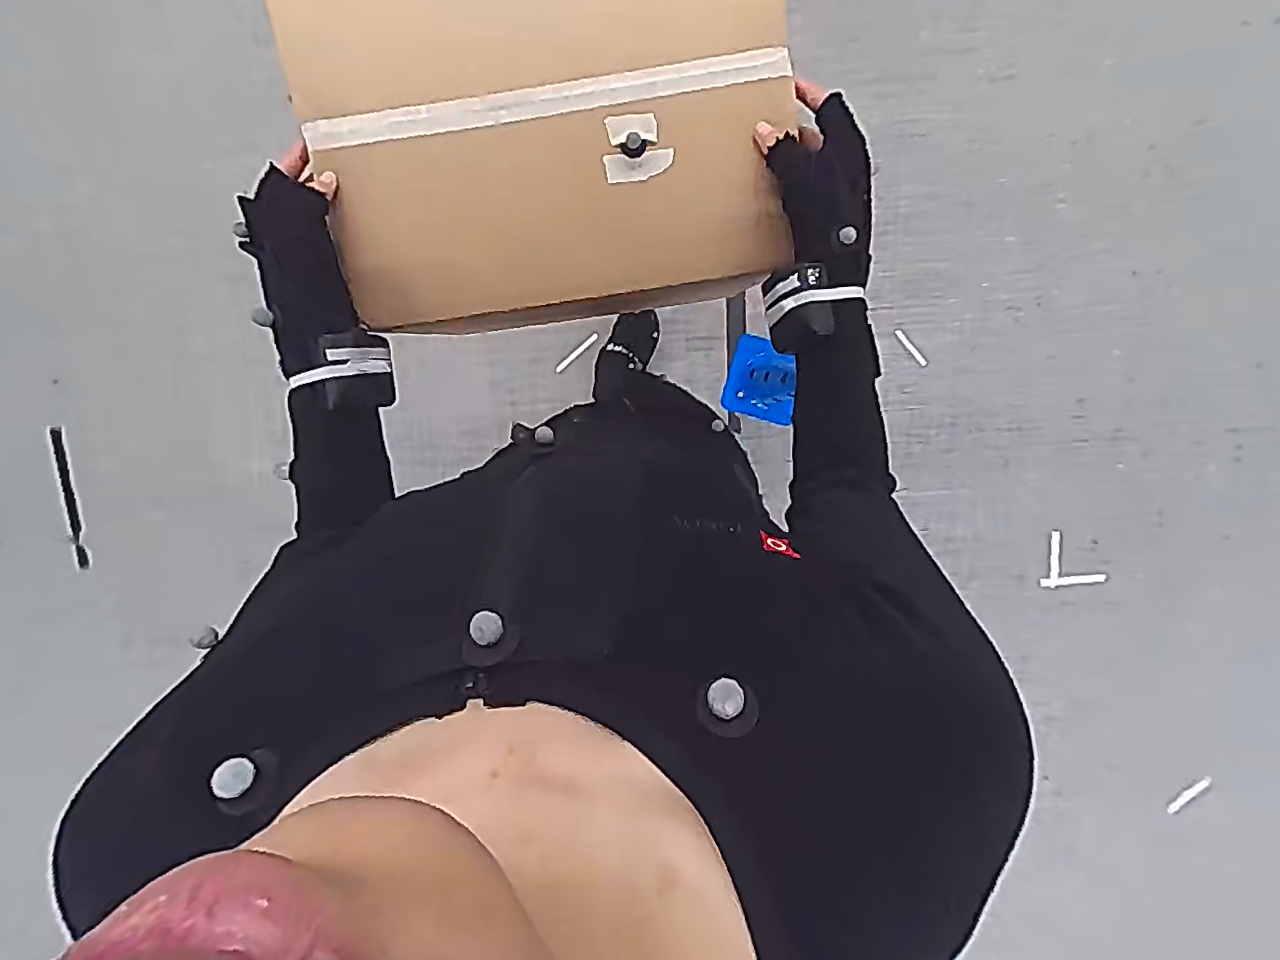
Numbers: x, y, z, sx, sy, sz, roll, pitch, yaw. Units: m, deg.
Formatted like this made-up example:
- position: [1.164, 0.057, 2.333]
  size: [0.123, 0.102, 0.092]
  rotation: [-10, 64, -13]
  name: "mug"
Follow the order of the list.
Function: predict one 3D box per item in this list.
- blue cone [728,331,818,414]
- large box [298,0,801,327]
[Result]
- position: [0.334, -0.248, 1.248]
  size: [0.193, 0.380, 0.192]
  rotation: [17, 100, -2]
  name: "blue cone"
- position: [-0.075, -0.362, 0.603]
  size: [0.408, 0.320, 0.320]
  rotation: [-8, 104, 0]
  name: "large box"
